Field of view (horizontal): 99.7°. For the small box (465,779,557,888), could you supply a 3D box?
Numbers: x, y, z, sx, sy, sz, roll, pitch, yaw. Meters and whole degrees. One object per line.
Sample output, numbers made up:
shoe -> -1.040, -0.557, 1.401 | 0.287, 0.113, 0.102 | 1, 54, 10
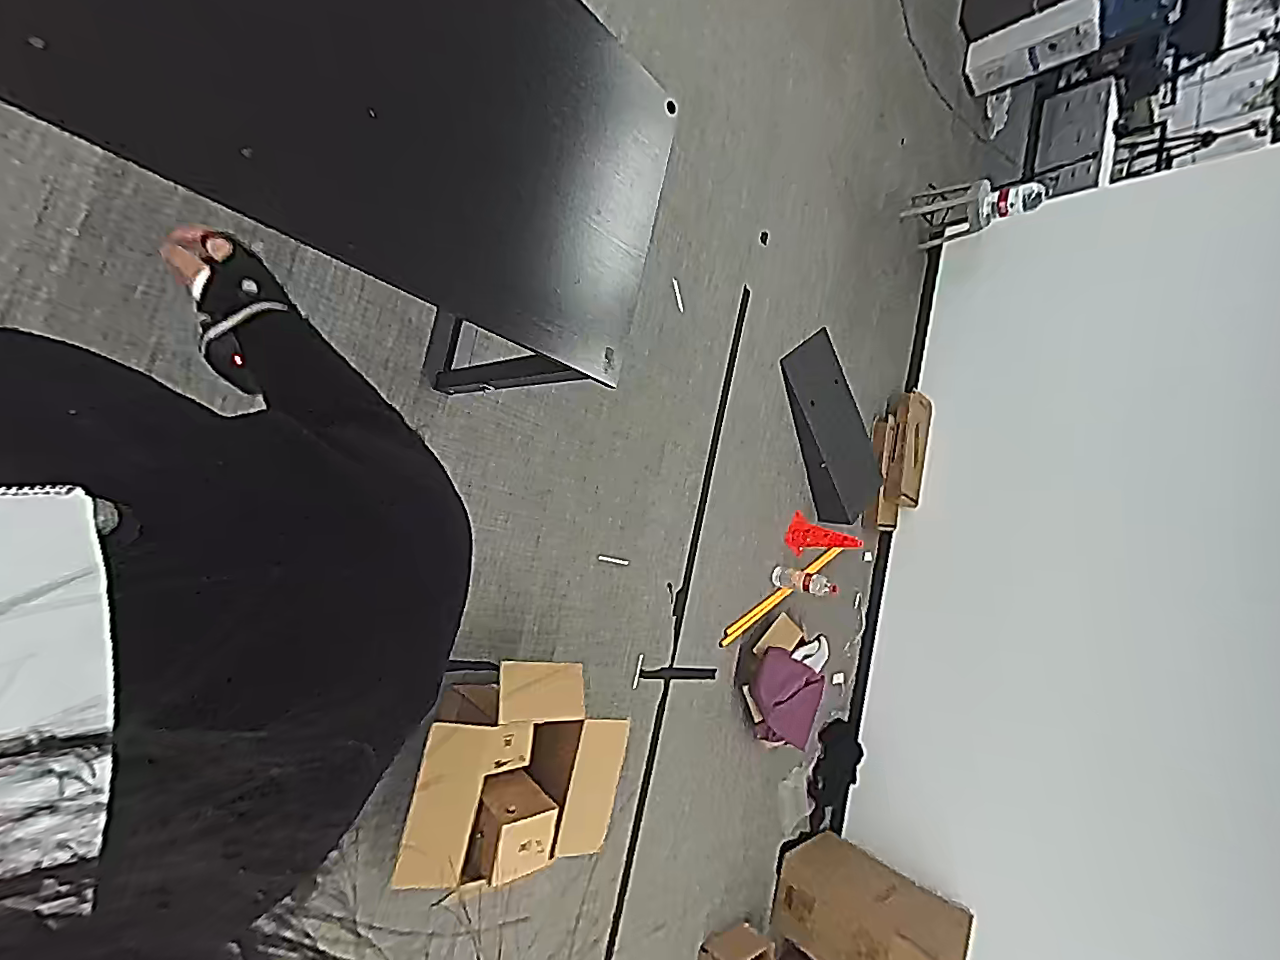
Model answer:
small box -> -0.359, 0.960, 1.486 | 0.179, 0.176, 0.168 | 11, 90, -43
